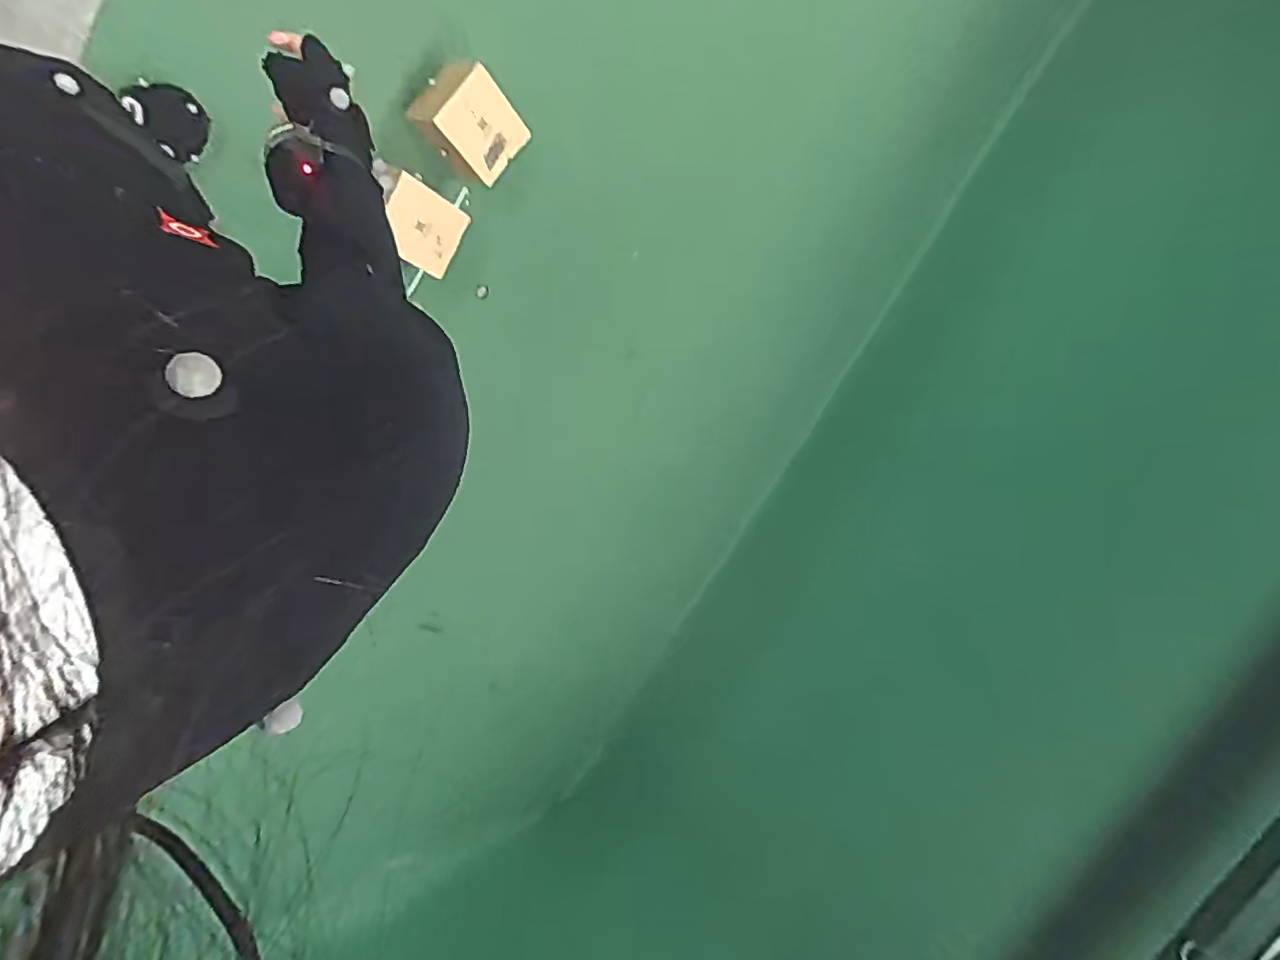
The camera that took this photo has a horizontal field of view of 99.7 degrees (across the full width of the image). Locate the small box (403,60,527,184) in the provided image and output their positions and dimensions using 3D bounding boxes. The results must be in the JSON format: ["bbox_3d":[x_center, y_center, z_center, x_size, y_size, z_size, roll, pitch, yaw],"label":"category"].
[{"bbox_3d":[-0.405,-0.827,1.249,0.168,0.176,0.179,-53,142,-2],"label":"small box"}]

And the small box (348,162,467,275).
[{"bbox_3d":[-0.547,-0.612,1.263,0.179,0.176,0.168,20,104,-53],"label":"small box"}]
